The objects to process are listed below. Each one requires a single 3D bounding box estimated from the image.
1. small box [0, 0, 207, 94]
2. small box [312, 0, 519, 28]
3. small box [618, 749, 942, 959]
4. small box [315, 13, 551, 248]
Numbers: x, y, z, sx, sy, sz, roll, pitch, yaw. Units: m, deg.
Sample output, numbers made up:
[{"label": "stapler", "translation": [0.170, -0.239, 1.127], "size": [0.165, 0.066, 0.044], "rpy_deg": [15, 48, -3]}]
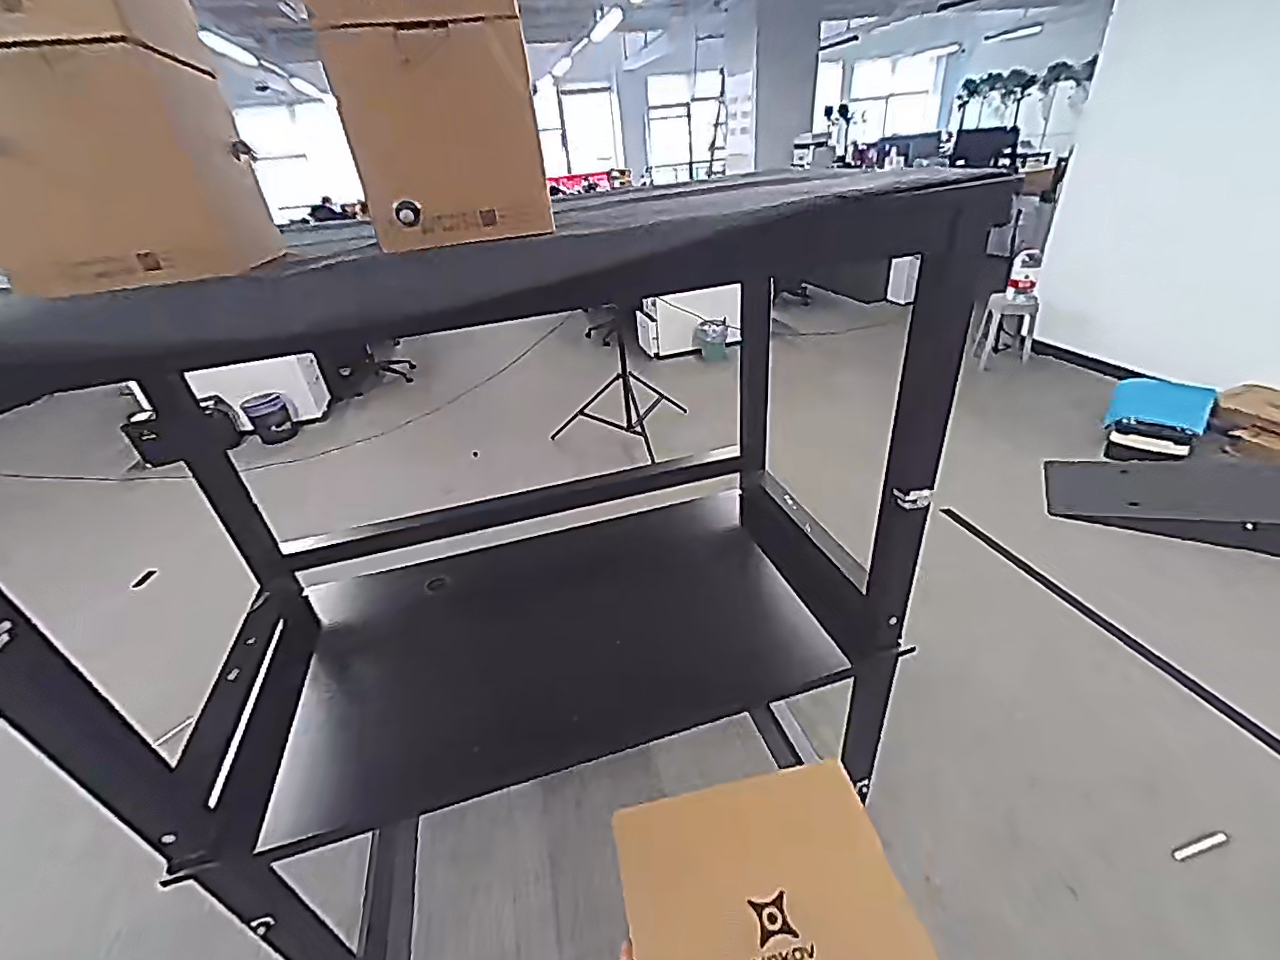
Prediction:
[{"label": "small box", "translation": [-0.480, -0.412, 0.408], "size": [0.168, 0.176, 0.179], "rpy_deg": [-13, 30, -11]}, {"label": "small box", "translation": [-0.206, -0.479, 0.468], "size": [0.168, 0.176, 0.179], "rpy_deg": [-13, 31, -9]}, {"label": "small box", "translation": [0.084, 0.318, 0.357], "size": [0.168, 0.176, 0.179], "rpy_deg": [-11, 36, -5]}, {"label": "small box", "translation": [-0.191, -0.338, 0.548], "size": [0.168, 0.176, 0.179], "rpy_deg": [-12, 30, -11]}]
